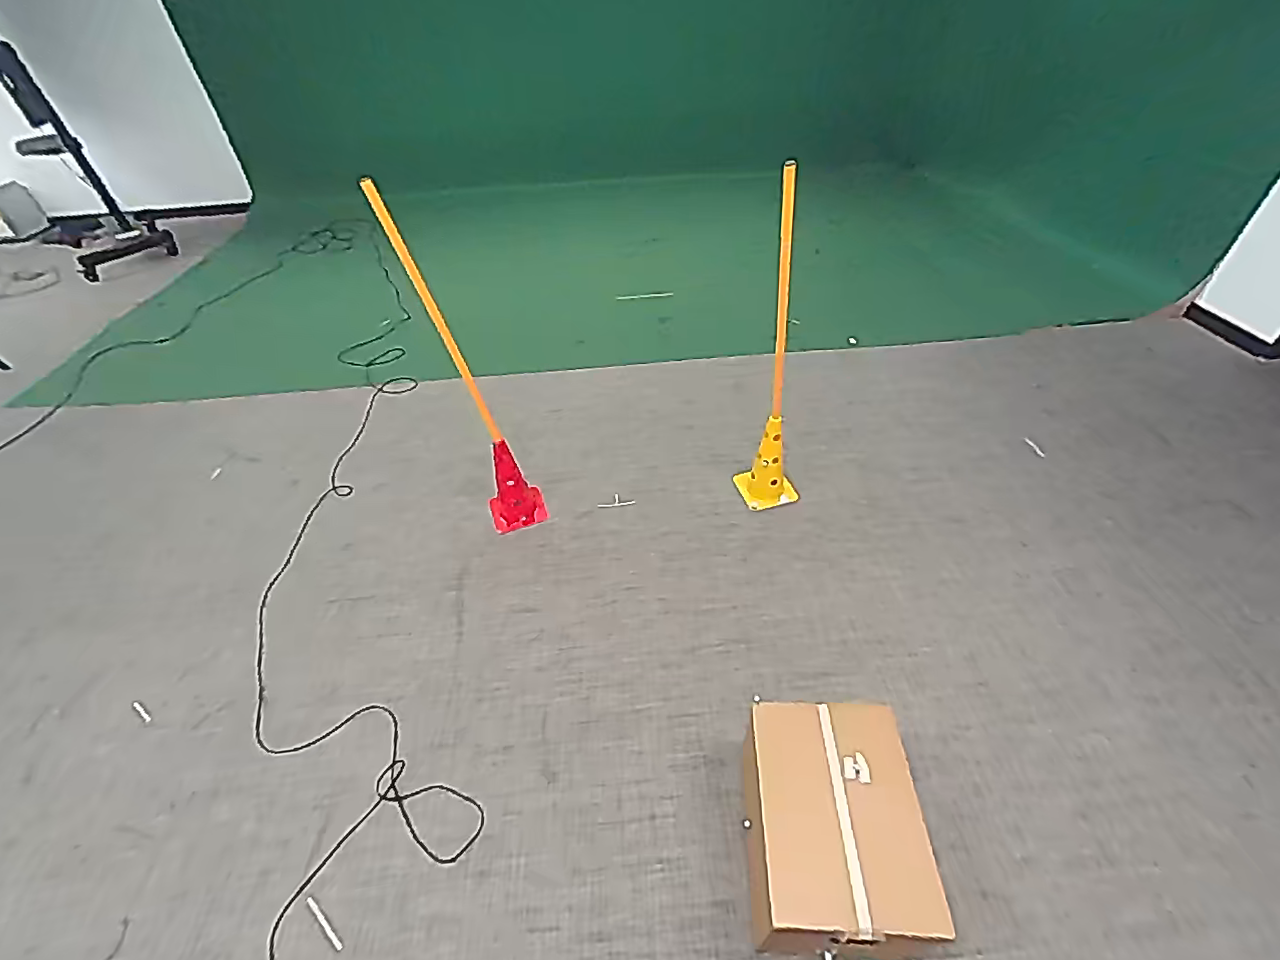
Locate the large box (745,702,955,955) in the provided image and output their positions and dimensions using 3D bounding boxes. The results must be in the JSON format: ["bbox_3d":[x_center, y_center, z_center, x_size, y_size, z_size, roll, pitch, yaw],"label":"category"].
[{"bbox_3d":[0.409,0.751,1.181,0.320,0.320,0.408,0,42,4],"label":"large box"}]
